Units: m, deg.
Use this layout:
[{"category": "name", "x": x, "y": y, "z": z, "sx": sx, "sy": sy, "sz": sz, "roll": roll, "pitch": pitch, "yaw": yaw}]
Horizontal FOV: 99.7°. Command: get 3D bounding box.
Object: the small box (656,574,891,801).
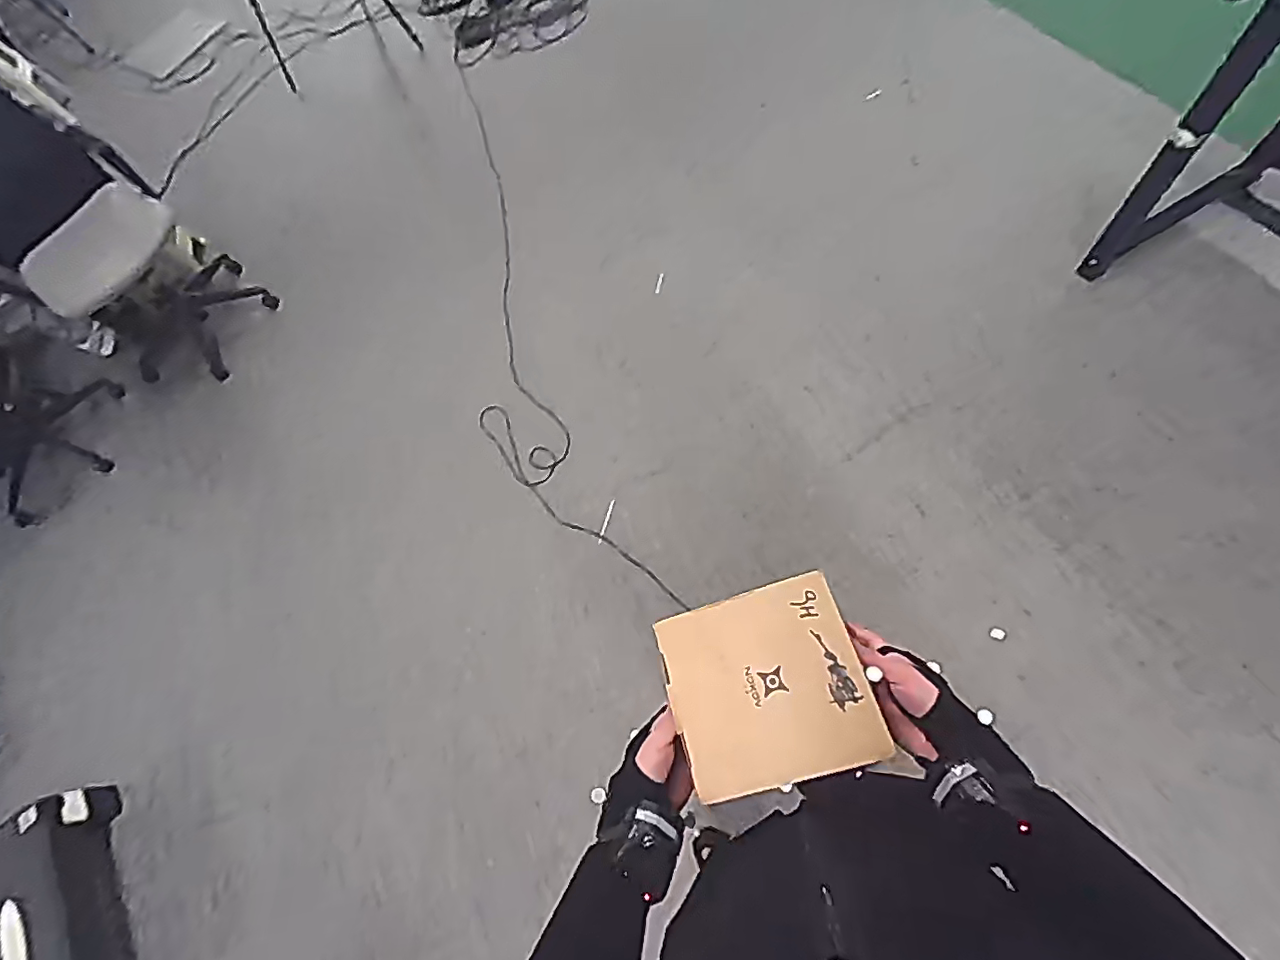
[{"category": "small box", "x": 0.137, "y": 0.214, "z": 0.565, "sx": 0.179, "sy": 0.176, "sz": 0.168, "roll": -20, "pitch": 65, "yaw": 11}]
